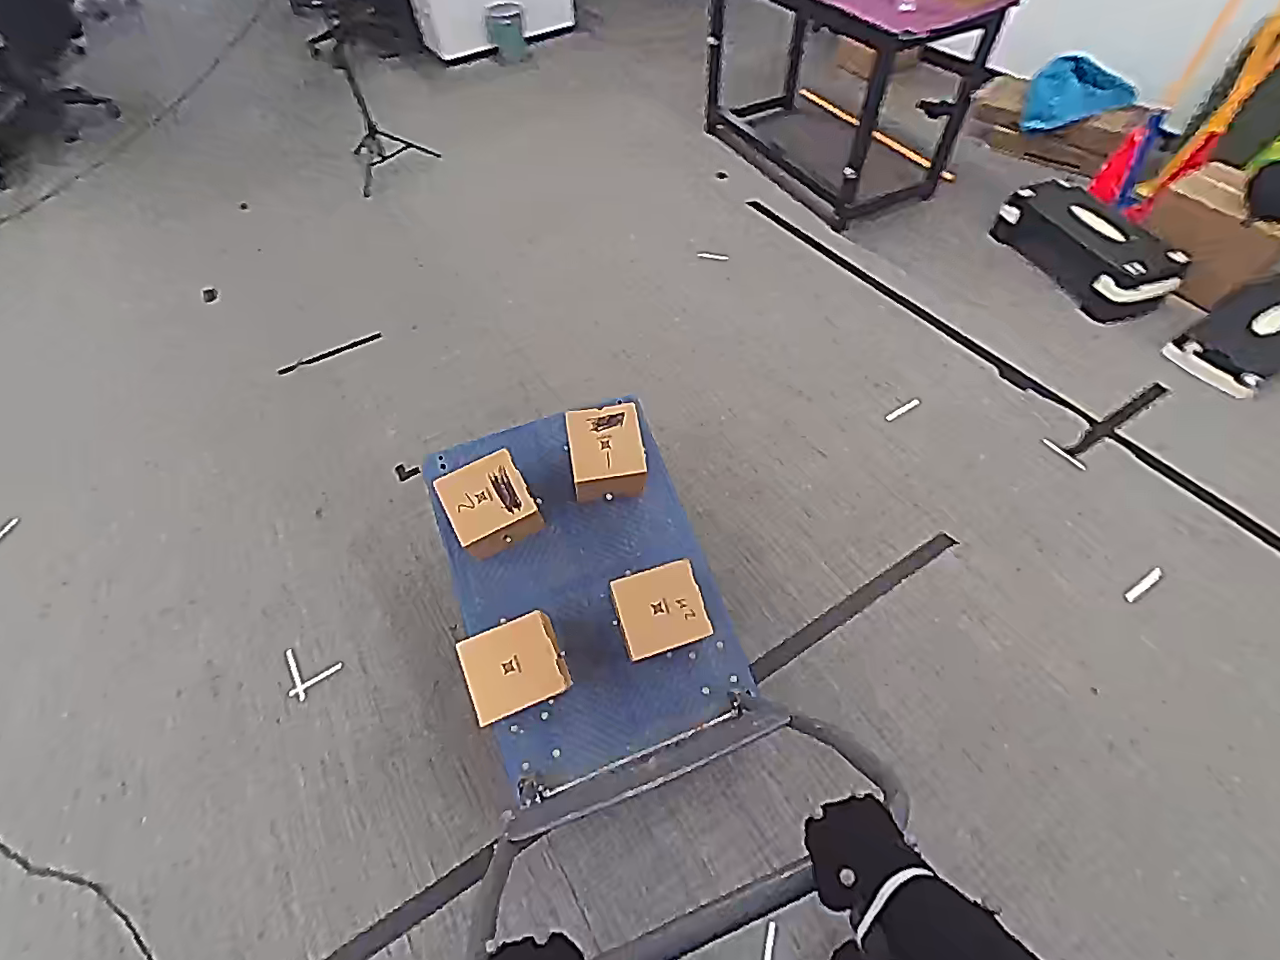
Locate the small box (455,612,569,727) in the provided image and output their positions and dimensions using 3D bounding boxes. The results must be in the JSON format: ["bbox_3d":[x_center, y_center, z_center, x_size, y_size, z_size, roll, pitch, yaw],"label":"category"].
[{"bbox_3d":[-0.258,0.393,1.126,0.179,0.176,0.168,-21,73,-12],"label":"small box"}]

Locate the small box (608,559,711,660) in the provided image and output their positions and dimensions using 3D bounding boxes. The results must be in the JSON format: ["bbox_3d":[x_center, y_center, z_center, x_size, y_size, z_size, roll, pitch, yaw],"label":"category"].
[{"bbox_3d":[0.036,0.289,1.180,0.179,0.176,0.168,-16,73,-9],"label":"small box"}]

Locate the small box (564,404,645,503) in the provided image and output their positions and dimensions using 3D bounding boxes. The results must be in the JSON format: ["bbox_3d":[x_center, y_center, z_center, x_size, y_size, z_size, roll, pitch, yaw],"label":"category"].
[{"bbox_3d":[-0.088,-0.059,1.292,0.168,0.176,0.179,-9,73,-7],"label":"small box"}]
